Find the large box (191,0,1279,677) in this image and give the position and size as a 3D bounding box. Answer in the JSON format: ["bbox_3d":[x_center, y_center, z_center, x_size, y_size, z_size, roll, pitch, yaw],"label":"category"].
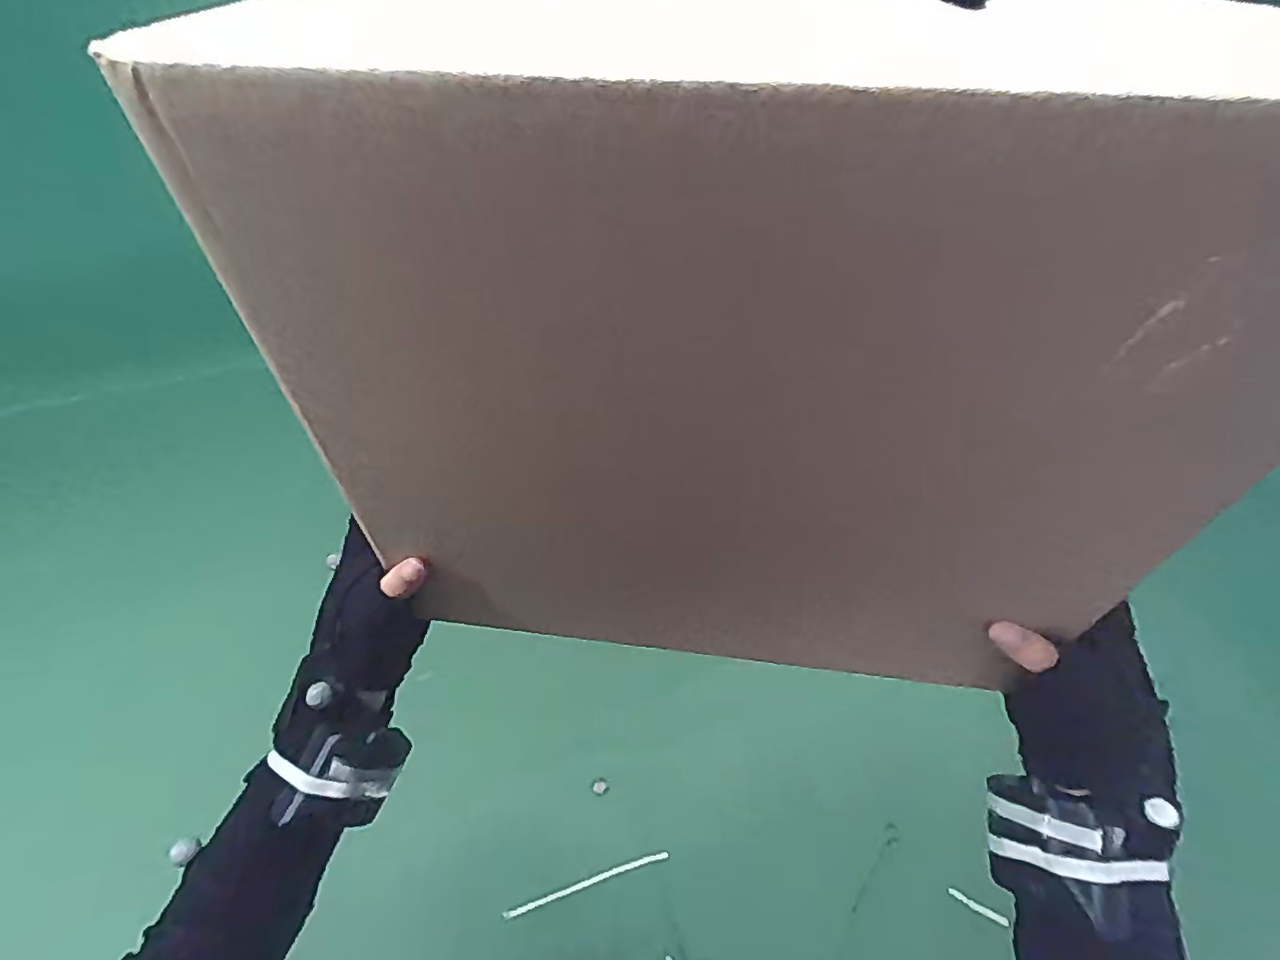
[{"bbox_3d":[0.071,-0.101,0.359,0.408,0.320,0.320,7,46,4],"label":"large box"}]
